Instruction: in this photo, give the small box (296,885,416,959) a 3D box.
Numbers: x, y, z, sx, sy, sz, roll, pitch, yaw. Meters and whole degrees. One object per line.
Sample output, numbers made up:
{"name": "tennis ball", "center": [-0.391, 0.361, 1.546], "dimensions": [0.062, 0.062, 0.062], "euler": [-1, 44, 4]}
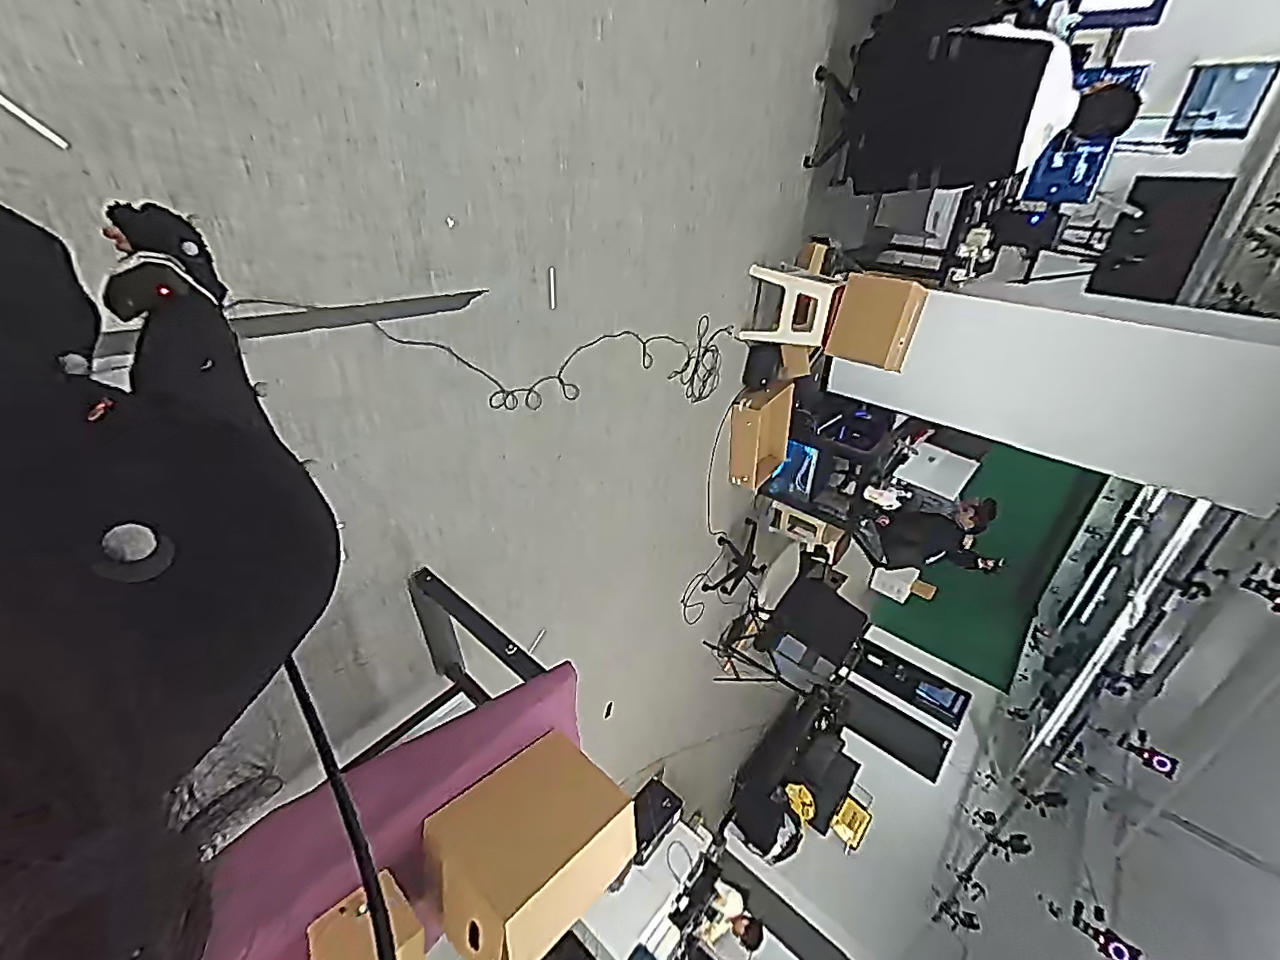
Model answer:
{"name": "small box", "center": [-0.587, 1.004, 1.119], "dimensions": [0.168, 0.176, 0.179], "euler": [-16, 123, -50]}
